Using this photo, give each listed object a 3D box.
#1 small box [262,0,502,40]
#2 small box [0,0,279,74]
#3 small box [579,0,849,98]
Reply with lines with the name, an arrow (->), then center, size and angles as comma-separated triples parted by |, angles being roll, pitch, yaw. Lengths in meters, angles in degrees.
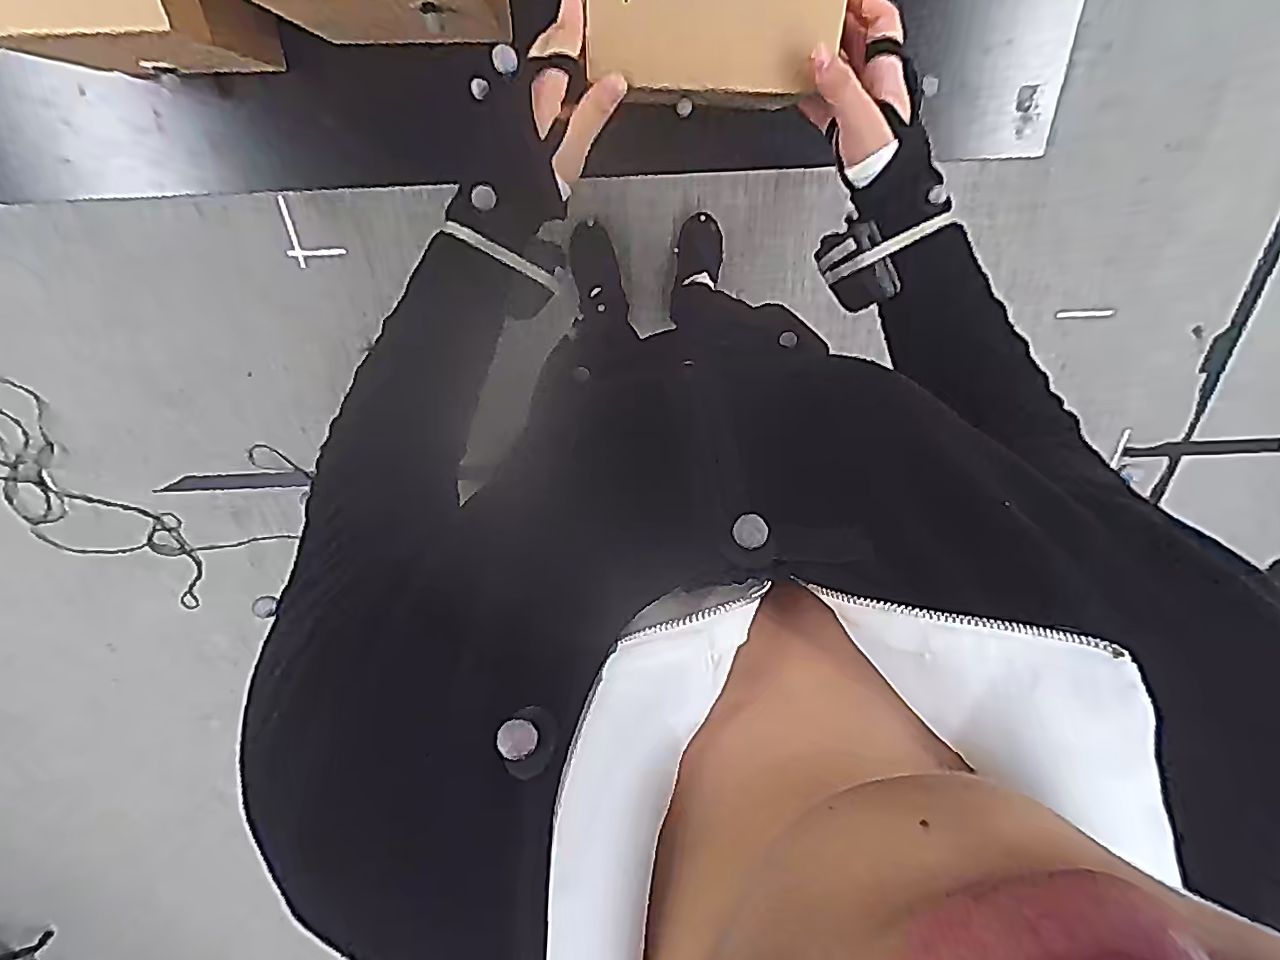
small box -> -0.207, -0.459, 0.412 | 0.179, 0.176, 0.168 | -2, 119, -2
small box -> -0.426, -0.435, 0.413 | 0.168, 0.176, 0.179 | -3, 120, 0
small box -> 0.049, -0.385, 0.393 | 0.179, 0.176, 0.168 | 1, 122, -2
